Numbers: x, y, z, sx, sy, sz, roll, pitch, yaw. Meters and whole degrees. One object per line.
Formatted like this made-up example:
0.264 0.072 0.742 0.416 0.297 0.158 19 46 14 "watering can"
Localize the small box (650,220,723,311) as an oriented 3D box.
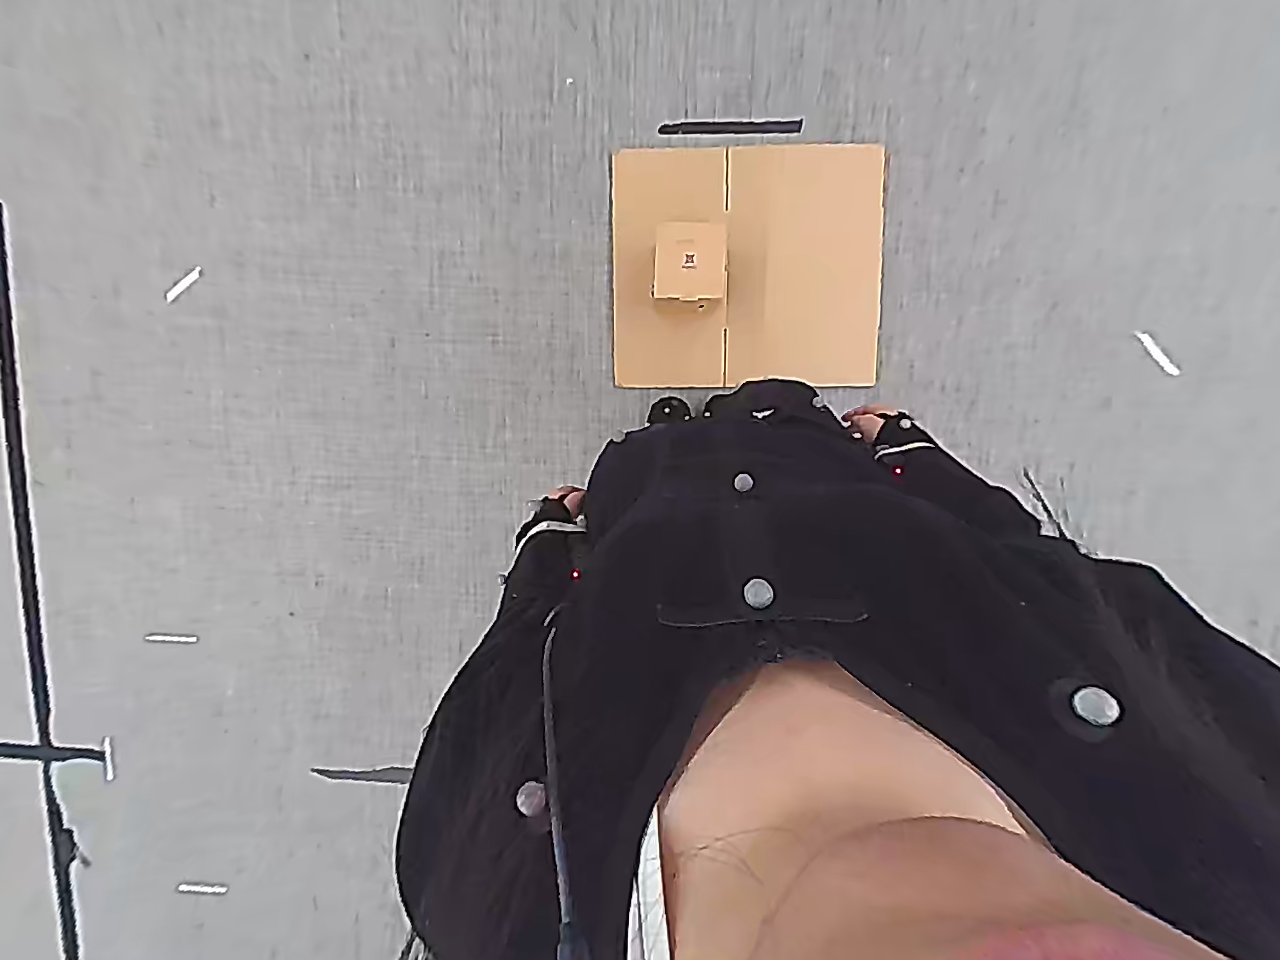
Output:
0.111 -0.521 1.336 0.168 0.176 0.179 1 96 0 "small box"
